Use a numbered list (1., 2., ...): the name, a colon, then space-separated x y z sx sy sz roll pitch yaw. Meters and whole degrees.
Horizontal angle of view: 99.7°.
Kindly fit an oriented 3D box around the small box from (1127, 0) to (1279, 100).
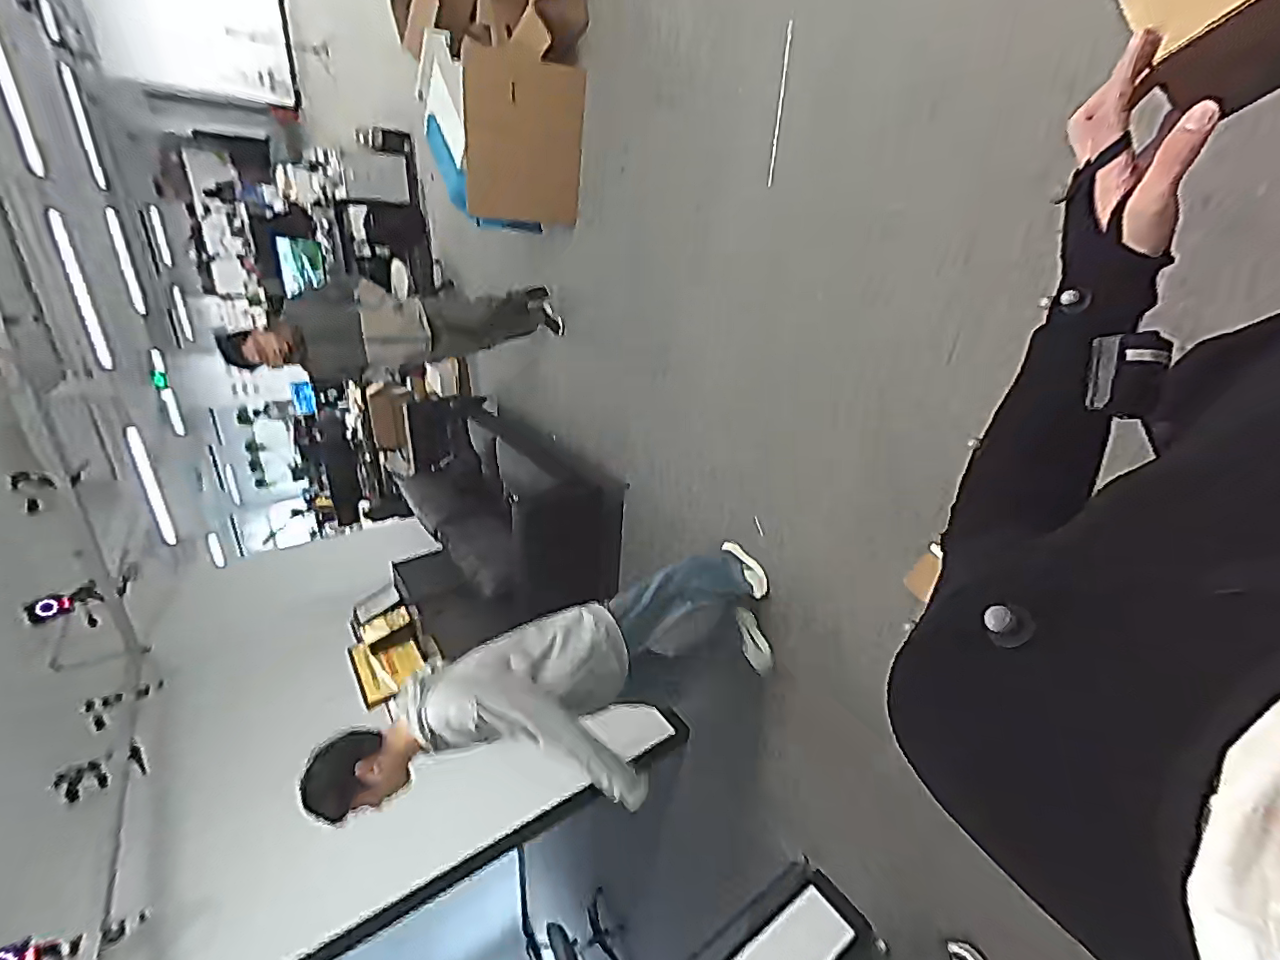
1. small box: 0.446 -0.403 0.368 0.168 0.176 0.179 -22 78 52
